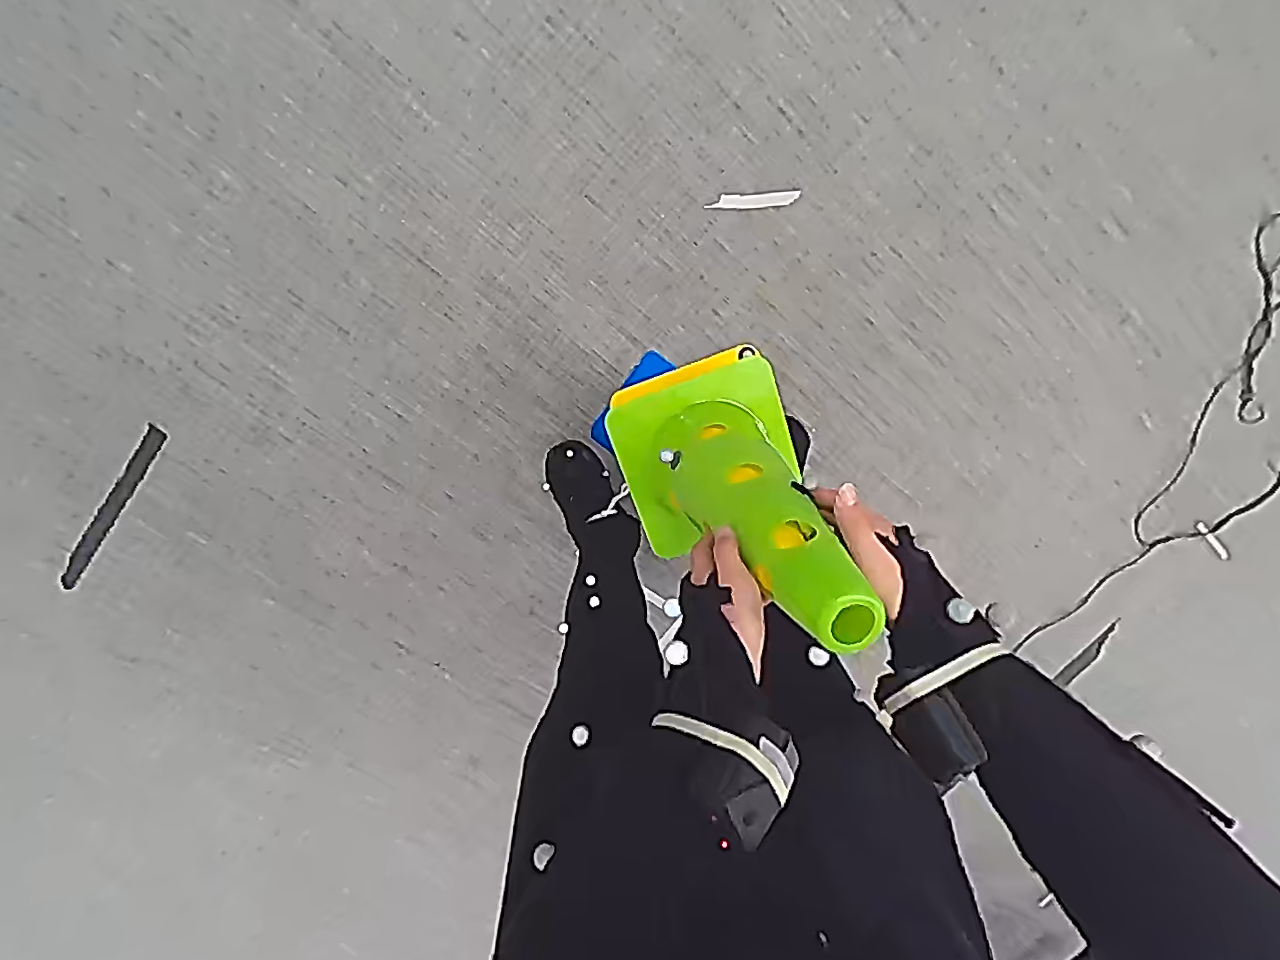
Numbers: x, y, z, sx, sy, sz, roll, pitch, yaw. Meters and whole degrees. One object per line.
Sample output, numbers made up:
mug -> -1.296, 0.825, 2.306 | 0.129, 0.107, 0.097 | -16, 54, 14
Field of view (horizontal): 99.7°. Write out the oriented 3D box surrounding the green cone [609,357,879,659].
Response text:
green cone -> 0.100, 0.026, 0.464 | 0.202, 0.368, 0.200 | -21, 107, 1
